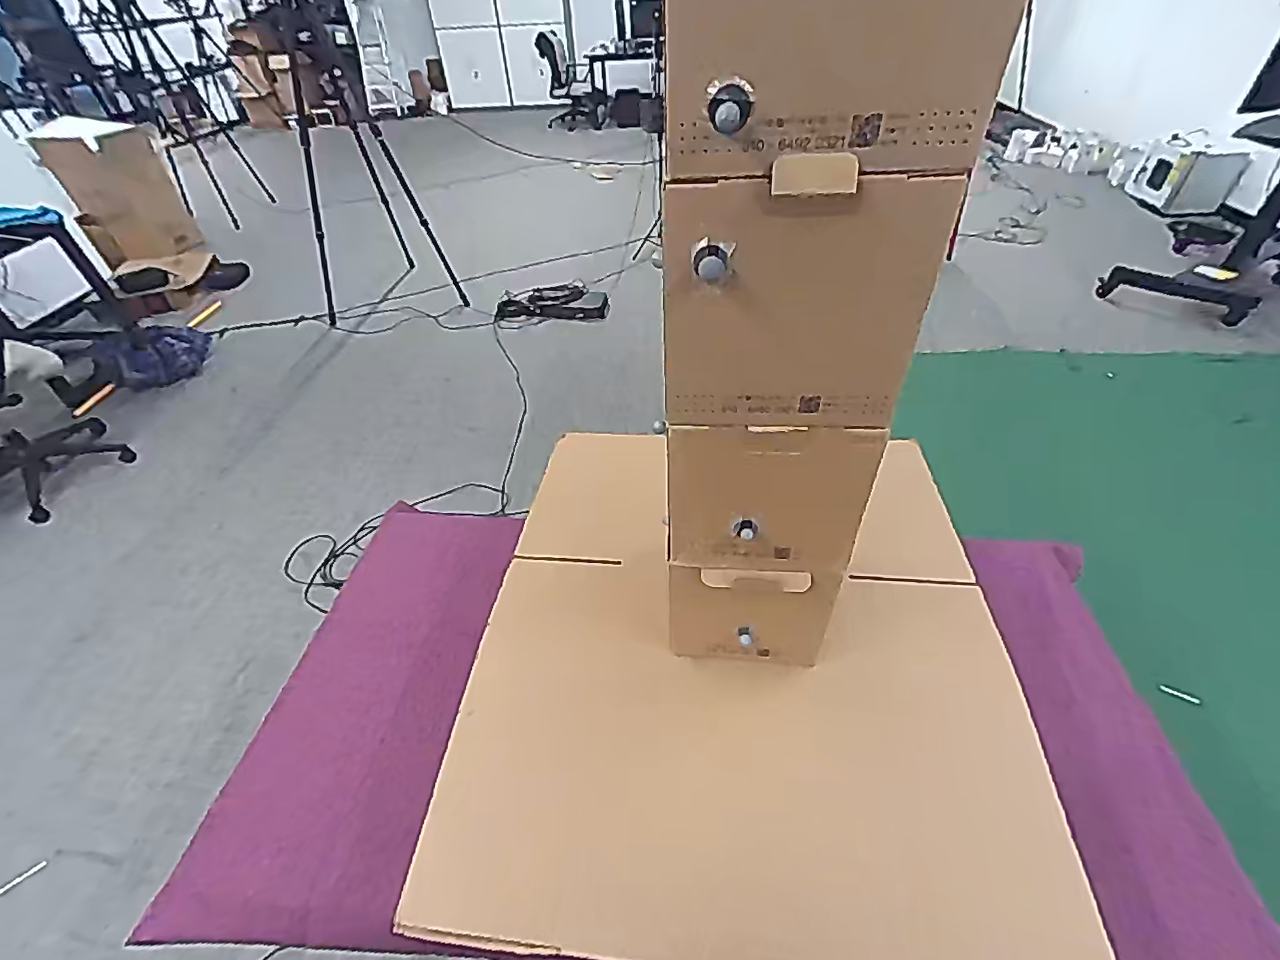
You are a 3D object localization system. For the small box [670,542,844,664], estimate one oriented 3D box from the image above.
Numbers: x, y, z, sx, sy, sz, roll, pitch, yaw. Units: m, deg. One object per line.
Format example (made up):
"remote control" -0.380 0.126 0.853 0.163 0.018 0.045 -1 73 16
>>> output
"small box" 0.123 0.086 0.627 0.168 0.176 0.179 3 42 7

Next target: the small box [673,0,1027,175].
"small box" 0.103 -0.281 0.301 0.168 0.176 0.179 -1 43 2

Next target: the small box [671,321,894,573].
"small box" 0.116 -0.035 0.519 0.168 0.176 0.179 2 42 5
